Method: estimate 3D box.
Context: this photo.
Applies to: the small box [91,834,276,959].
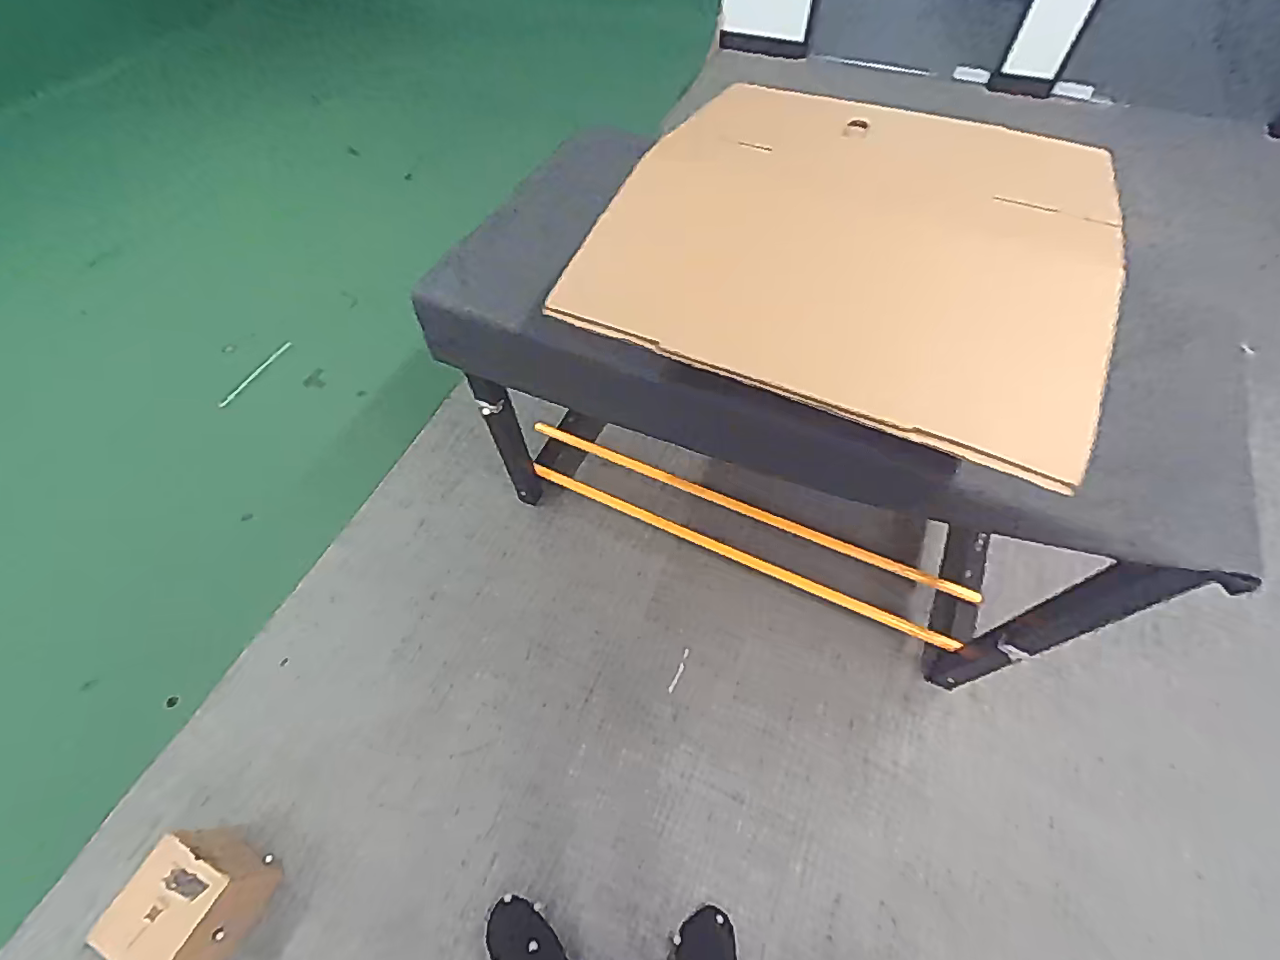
[{"bbox_3d":[-0.828,0.792,1.009,0.168,0.176,0.179,22,63,15],"label":"small box"}]
